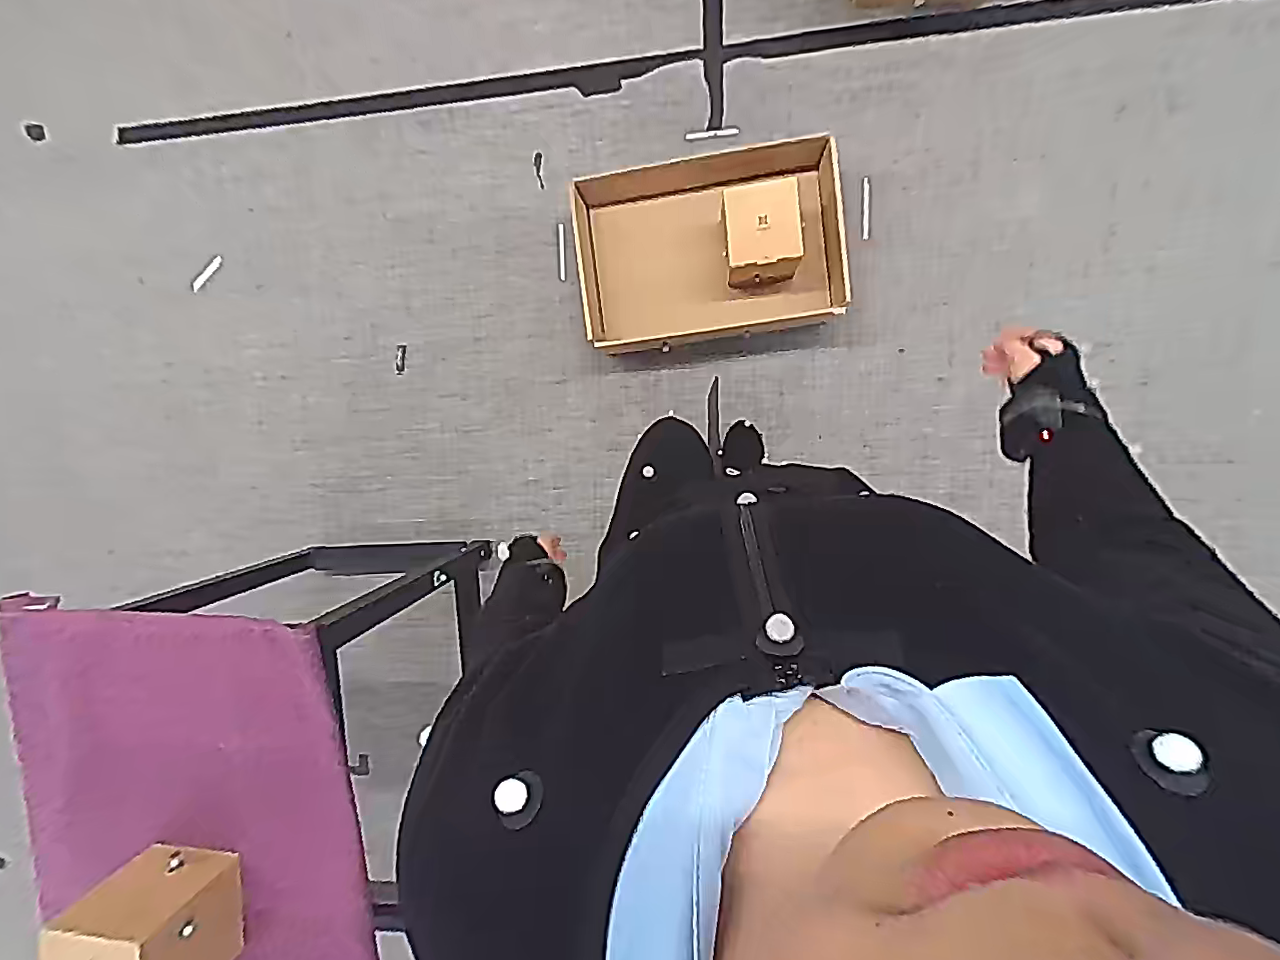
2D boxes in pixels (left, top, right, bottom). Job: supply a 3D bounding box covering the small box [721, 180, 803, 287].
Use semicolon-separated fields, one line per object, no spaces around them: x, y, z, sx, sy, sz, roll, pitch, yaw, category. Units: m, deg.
0.285;-0.582;1.295;0.168;0.176;0.179;-6;94;8;small box
